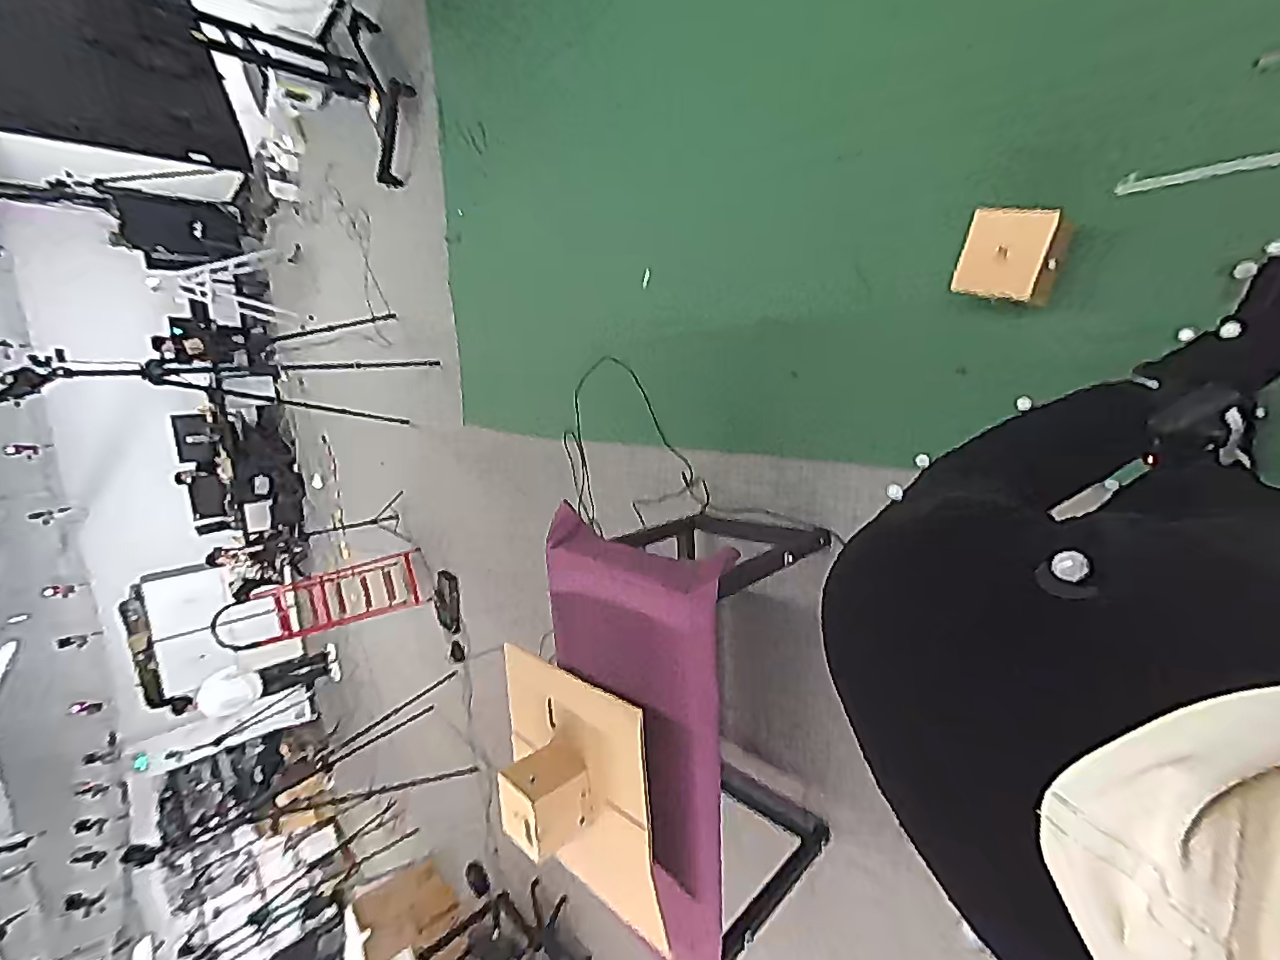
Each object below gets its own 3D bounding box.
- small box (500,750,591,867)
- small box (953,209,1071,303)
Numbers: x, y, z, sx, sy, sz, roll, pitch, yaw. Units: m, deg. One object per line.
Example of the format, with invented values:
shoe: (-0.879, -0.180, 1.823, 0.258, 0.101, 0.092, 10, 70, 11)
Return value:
small box: (-0.240, 0.836, 1.403, 0.179, 0.176, 0.168, 3, 100, 47)
small box: (0.864, -0.515, 1.253, 0.168, 0.176, 0.179, 28, 119, 40)
